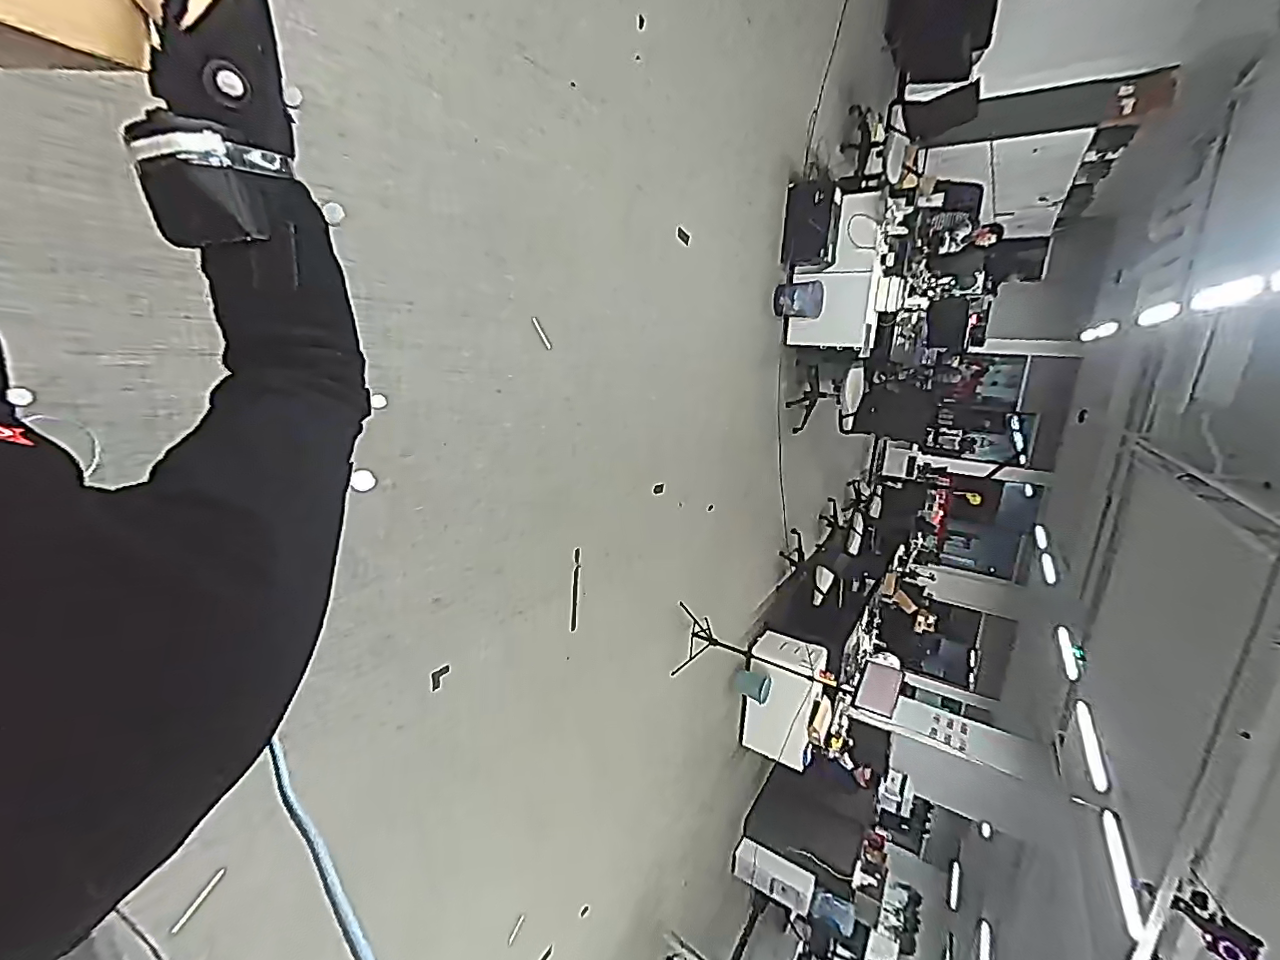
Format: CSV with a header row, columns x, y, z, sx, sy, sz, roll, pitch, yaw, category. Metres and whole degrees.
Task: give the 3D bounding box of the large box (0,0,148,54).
x,y,z,sx,sy,sz,roll,pitch,yaw,category
-0.475,-0.400,0.164,0.408,0.320,0.320,-16,126,-56,large box
